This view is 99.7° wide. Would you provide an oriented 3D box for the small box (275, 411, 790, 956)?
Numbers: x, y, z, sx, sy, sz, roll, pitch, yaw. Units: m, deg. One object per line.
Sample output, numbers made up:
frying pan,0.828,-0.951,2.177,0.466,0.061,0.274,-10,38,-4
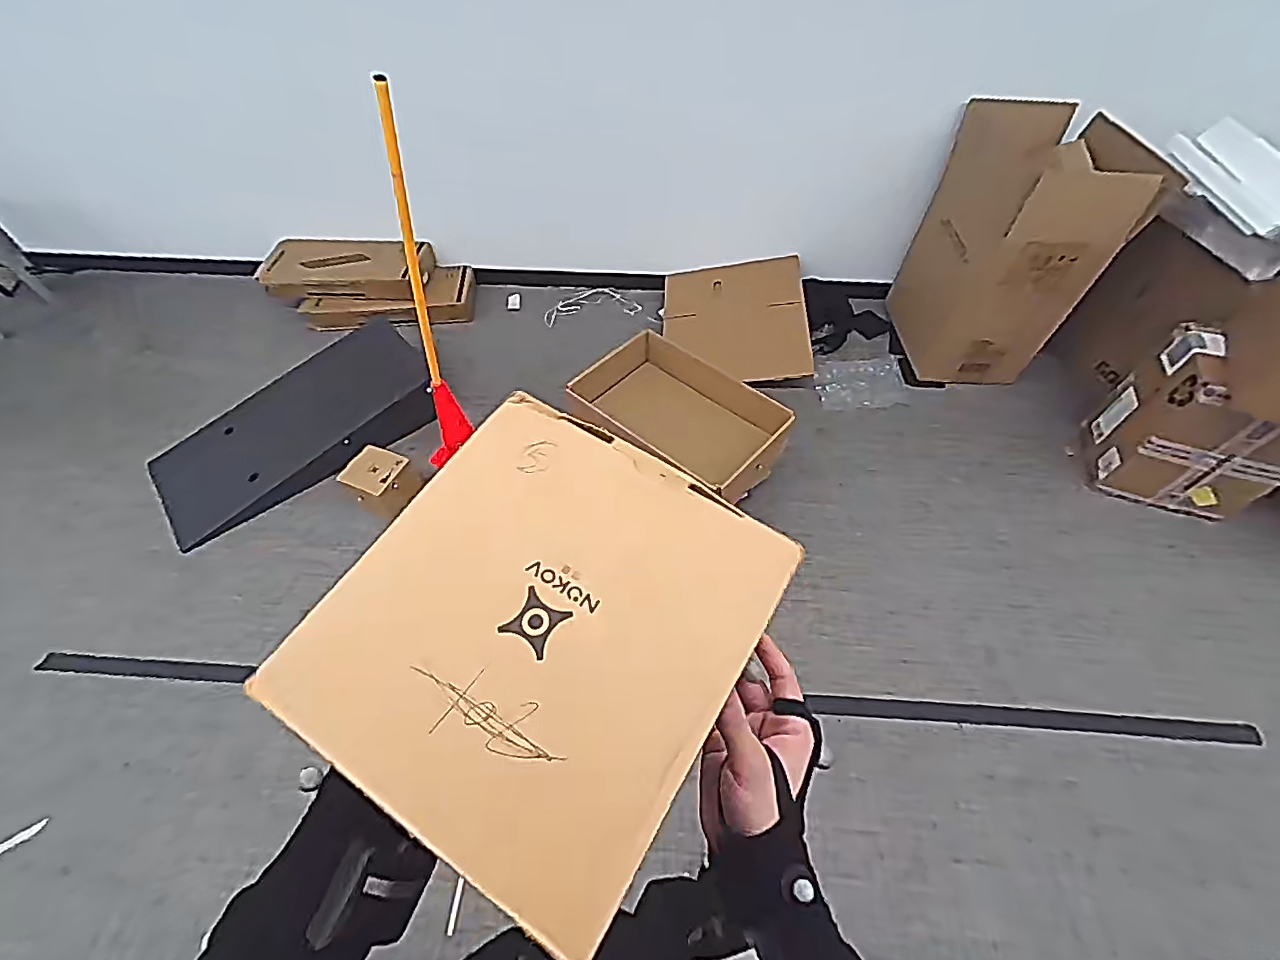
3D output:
small box,-0.041,0.100,0.310,0.168,0.176,0.179,28,66,15
